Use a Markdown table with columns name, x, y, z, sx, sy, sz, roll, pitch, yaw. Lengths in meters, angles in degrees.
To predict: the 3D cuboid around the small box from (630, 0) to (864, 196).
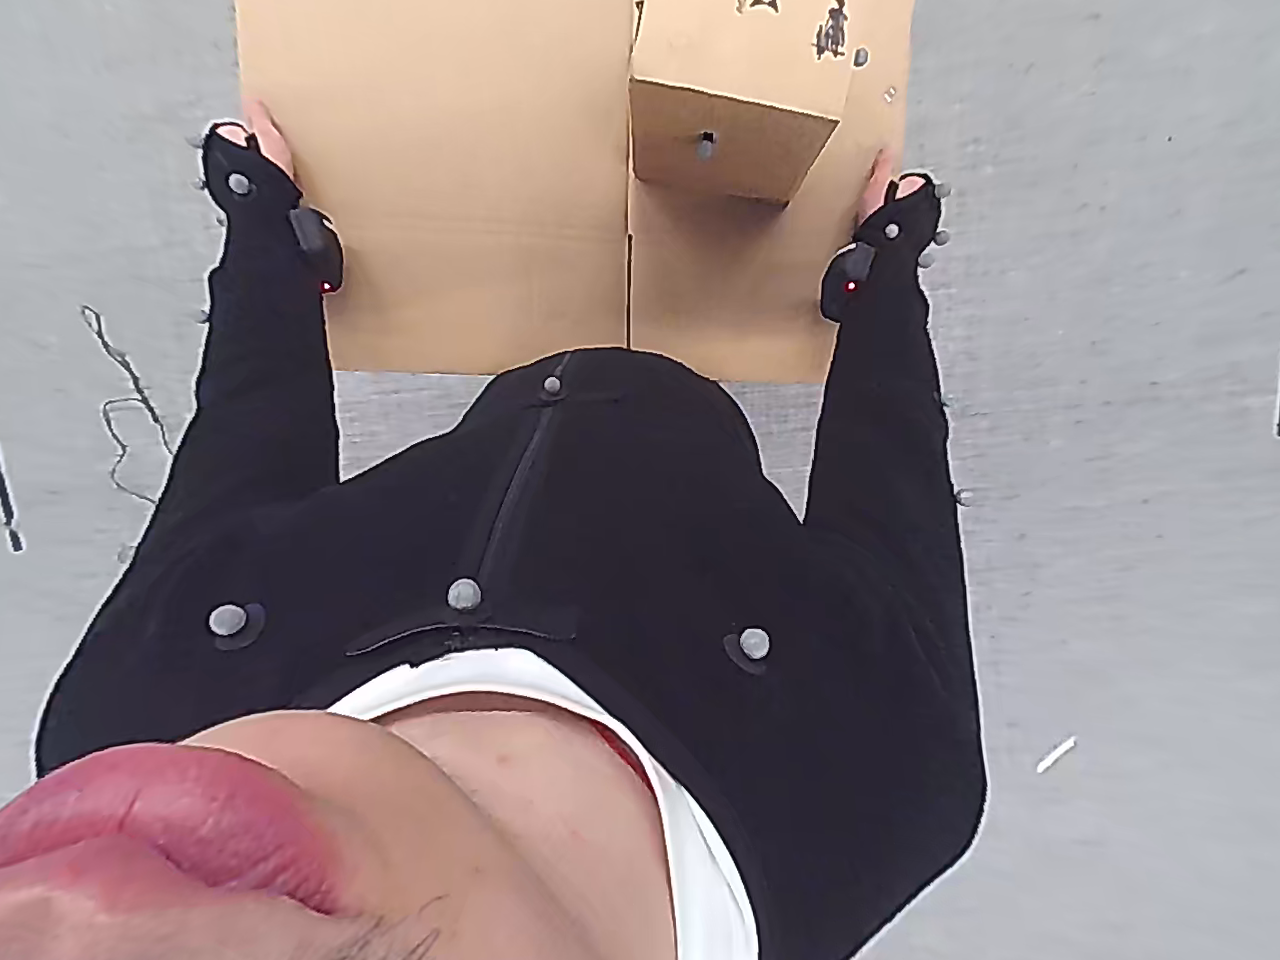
| name | x | y | z | sx | sy | sz | roll | pitch | yaw |
| --- | --- | --- | --- | --- | --- | --- | --- | --- | --- |
| small box | 0.095 | -0.395 | 0.511 | 0.179 | 0.176 | 0.168 | 11 | 96 | 1 |
